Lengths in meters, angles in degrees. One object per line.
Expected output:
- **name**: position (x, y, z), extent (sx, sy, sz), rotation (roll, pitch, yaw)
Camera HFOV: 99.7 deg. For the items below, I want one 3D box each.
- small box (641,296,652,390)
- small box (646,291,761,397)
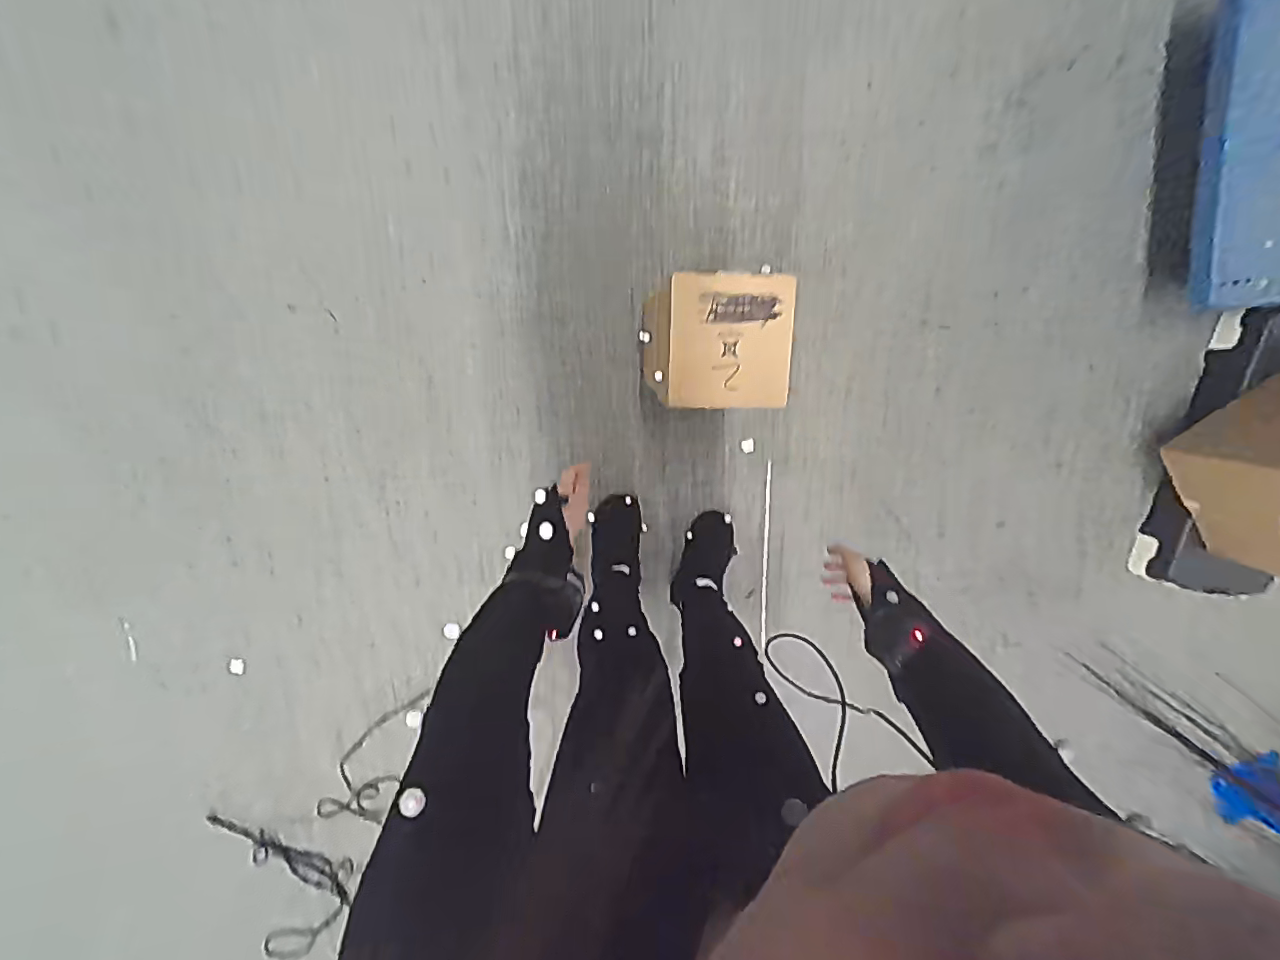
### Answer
- **small box**: position (0.090, -0.278, 1.112), extent (0.168, 0.176, 0.179), rotation (0, 102, -3)
- **small box**: position (0.102, -0.236, 0.953), extent (0.179, 0.176, 0.168), rotation (0, 103, -4)
